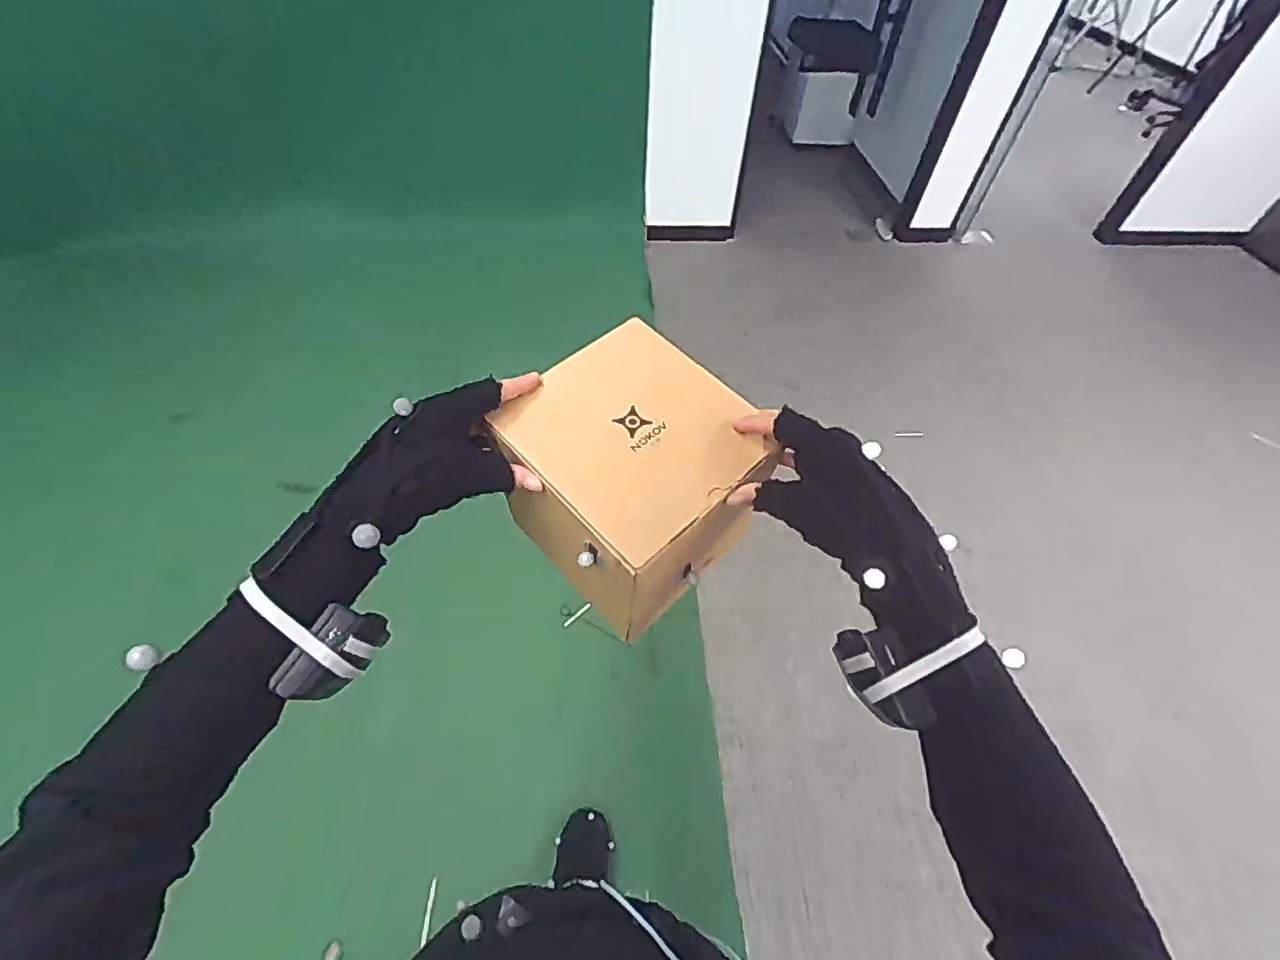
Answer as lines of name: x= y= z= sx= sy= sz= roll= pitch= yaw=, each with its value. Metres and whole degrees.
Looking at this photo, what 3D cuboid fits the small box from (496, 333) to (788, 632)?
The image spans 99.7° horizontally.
small box: x=-0.005 y=0.007 z=0.491 sx=0.168 sy=0.176 sz=0.179 roll=-37 pitch=68 yaw=-24
